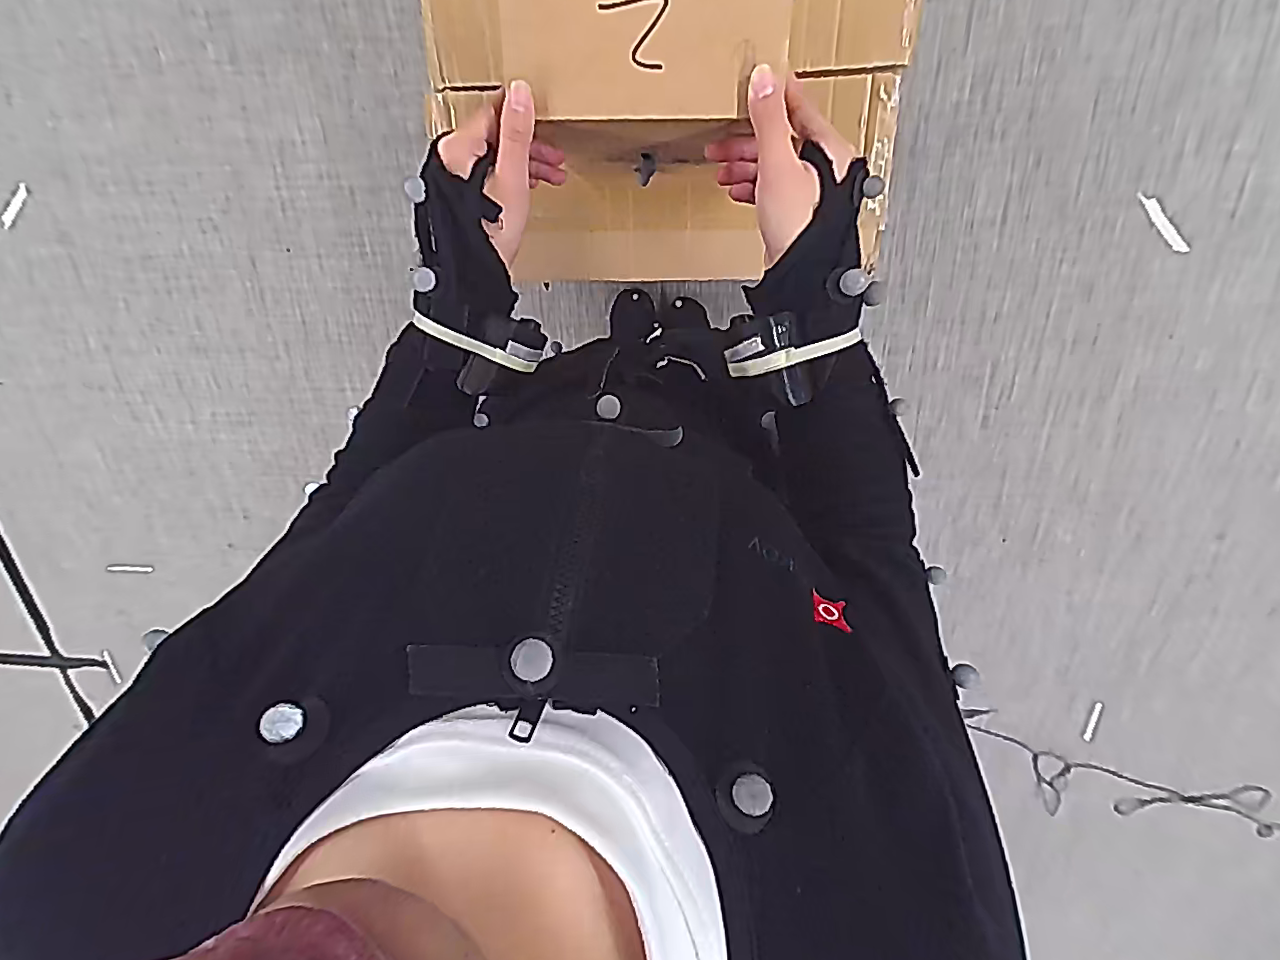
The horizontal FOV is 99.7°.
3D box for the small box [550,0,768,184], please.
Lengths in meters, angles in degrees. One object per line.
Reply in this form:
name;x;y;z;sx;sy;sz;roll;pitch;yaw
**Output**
small box;0.021;-0.386;0.514;0.179;0.176;0.168;2;111;4
